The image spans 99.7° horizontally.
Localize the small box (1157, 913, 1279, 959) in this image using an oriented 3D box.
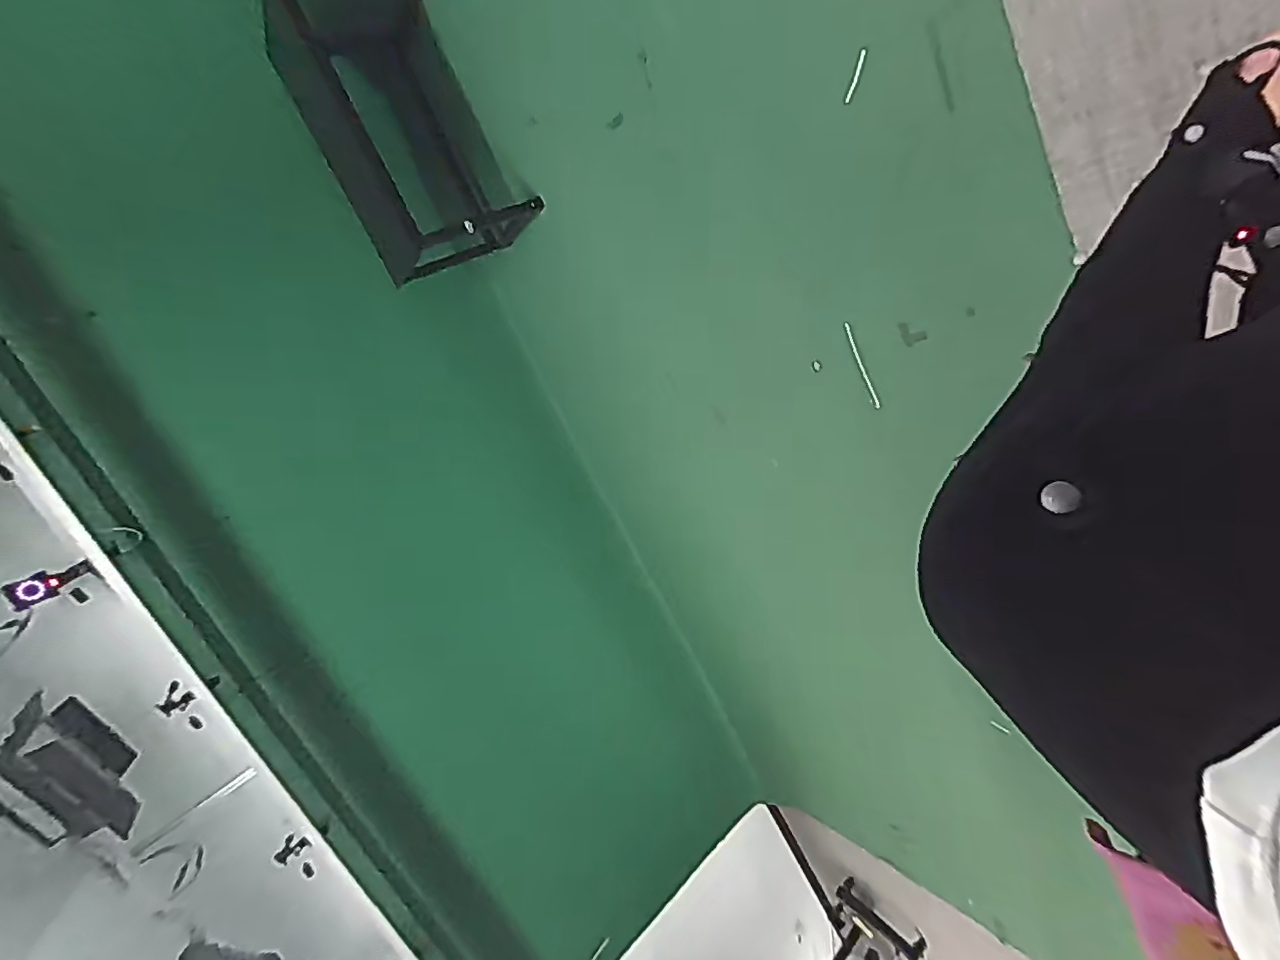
[{"bbox_3d":[1.100,0.977,1.004,0.168,0.176,0.179,-9,112,59],"label":"small box"}]
